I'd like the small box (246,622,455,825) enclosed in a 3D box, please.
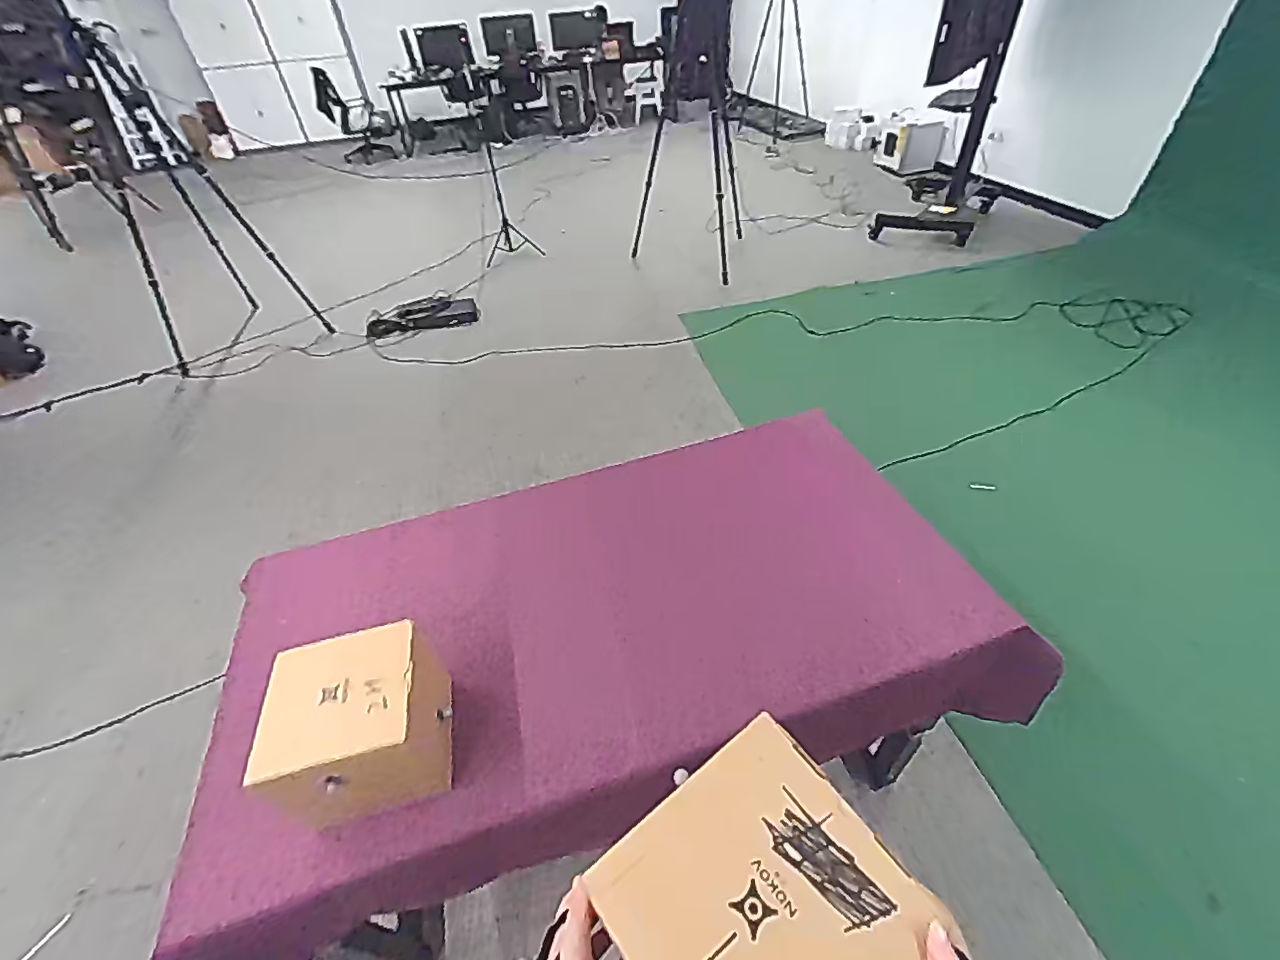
[{"bbox_3d":[-0.357,0.319,0.707,0.179,0.176,0.168,-13,44,-8],"label":"small box"}]
